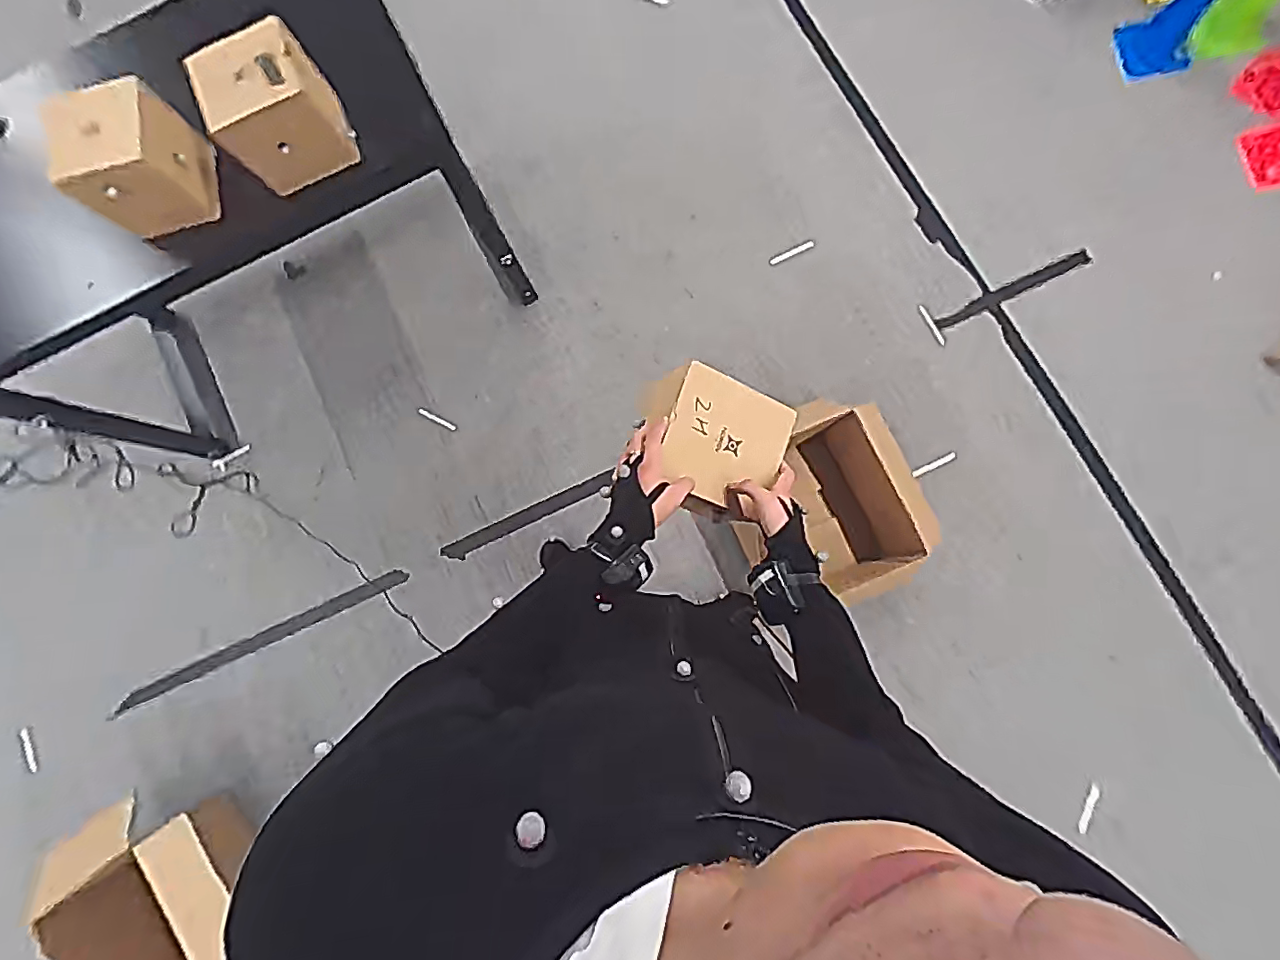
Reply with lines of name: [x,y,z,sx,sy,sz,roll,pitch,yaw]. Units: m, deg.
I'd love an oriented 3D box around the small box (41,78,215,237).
small box: [-0.930,-0.584,1.000,0.179,0.176,0.168,-13,81,3]

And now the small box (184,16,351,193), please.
small box: [-0.664,-0.673,0.990,0.179,0.176,0.168,-25,81,2]

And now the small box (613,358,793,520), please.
small box: [0.082,-0.050,0.779,0.179,0.176,0.168,21,82,-16]
